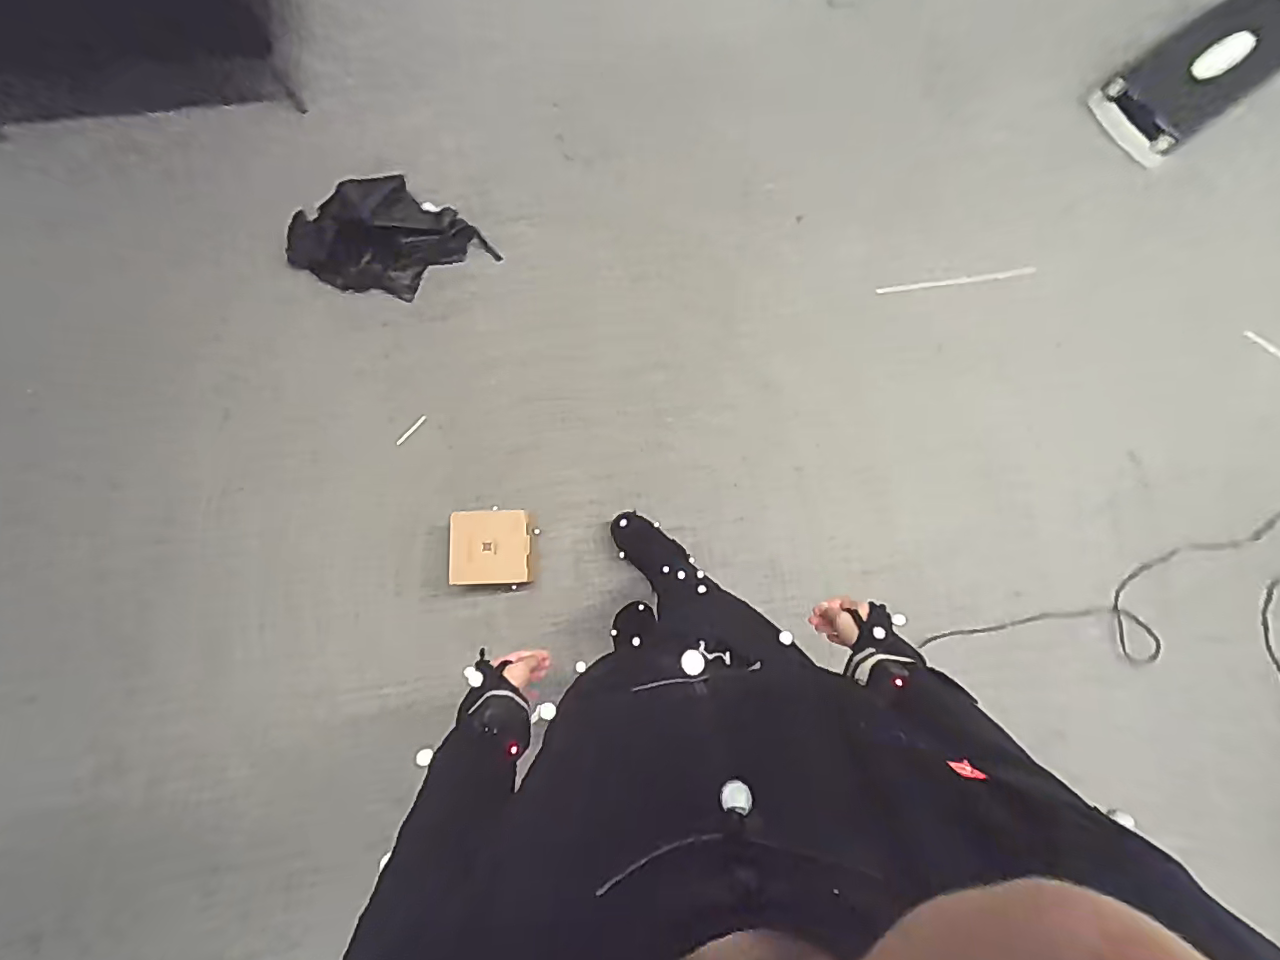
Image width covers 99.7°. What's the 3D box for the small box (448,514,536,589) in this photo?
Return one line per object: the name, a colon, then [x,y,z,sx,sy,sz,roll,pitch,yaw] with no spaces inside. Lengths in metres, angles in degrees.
small box: [-0.342,0.171,1.282,0.179,0.176,0.168,-2,79,-2]
